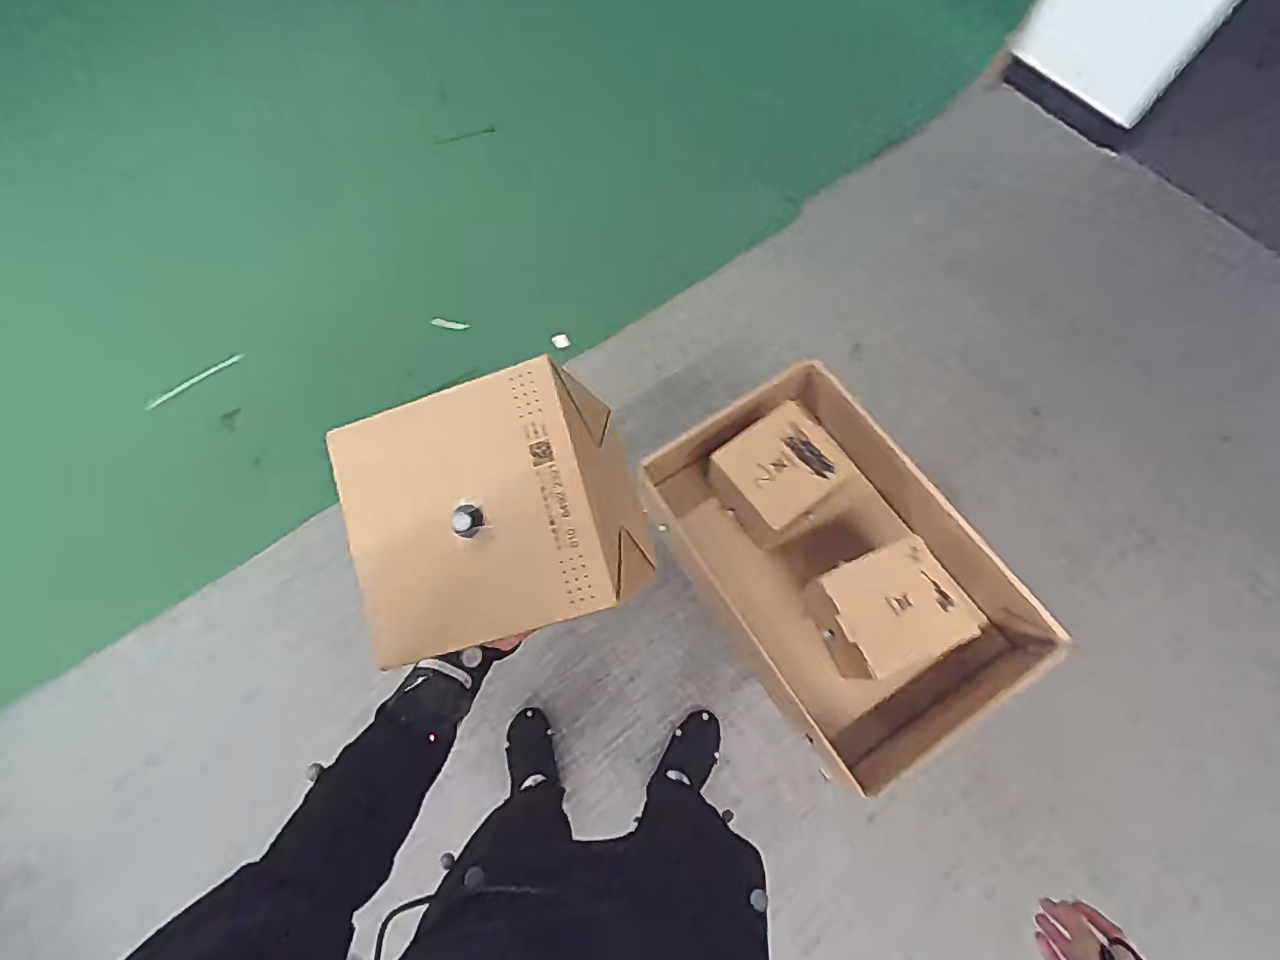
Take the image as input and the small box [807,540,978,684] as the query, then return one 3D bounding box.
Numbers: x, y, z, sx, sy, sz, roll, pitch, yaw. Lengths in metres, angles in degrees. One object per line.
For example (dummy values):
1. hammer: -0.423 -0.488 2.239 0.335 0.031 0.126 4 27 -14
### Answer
1. small box: 0.389 0.220 0.879 0.179 0.176 0.168 -22 70 -3
